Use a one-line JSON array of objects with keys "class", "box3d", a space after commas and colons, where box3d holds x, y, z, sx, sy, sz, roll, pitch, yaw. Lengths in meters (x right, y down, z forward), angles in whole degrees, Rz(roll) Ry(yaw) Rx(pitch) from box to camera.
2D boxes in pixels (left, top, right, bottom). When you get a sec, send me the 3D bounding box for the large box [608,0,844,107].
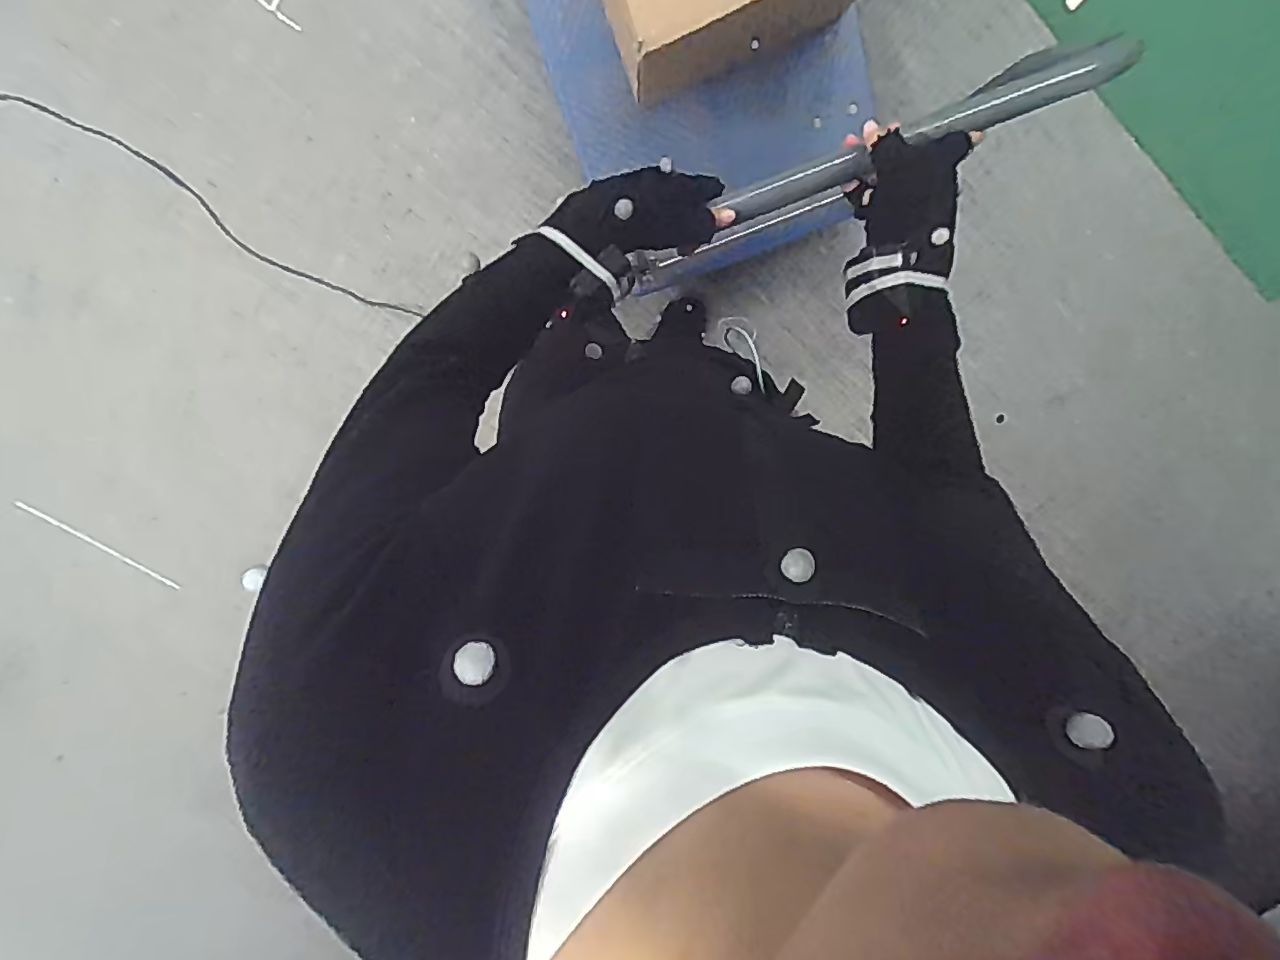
[{"class": "large box", "box3d": [0.135, -0.878, 0.853, 0.408, 0.320, 0.320, -21, 110, 10]}]
